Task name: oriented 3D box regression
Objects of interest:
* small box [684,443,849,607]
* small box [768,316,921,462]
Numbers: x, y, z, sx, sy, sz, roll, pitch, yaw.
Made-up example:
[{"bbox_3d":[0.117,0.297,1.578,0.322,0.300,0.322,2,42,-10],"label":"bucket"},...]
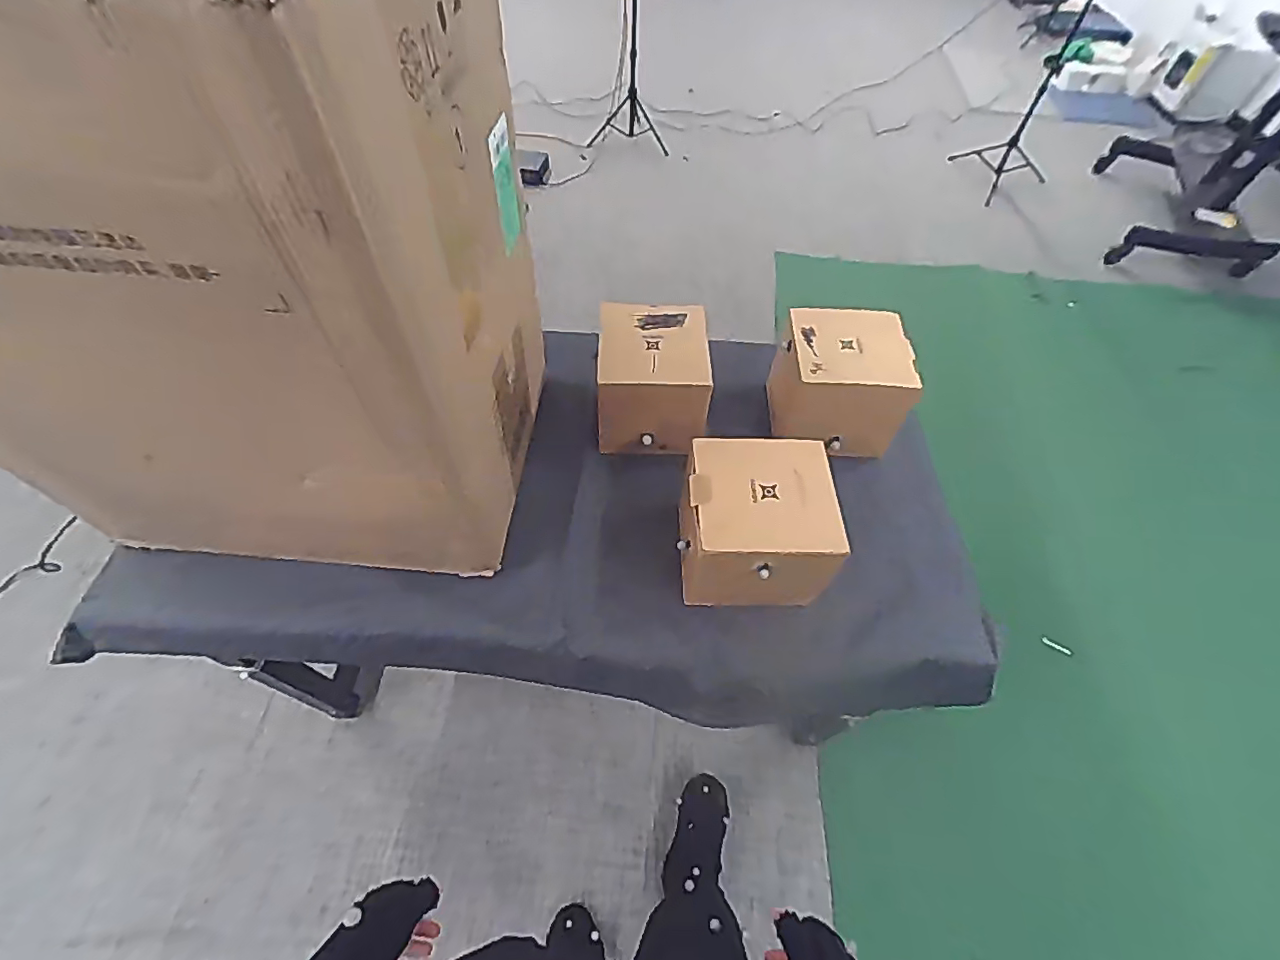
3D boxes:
[{"bbox_3d":[0.155,0.066,0.735,0.179,0.176,0.168,1,56,-3],"label":"small box"},{"bbox_3d":[0.322,-0.144,0.889,0.179,0.176,0.168,4,55,0],"label":"small box"}]
